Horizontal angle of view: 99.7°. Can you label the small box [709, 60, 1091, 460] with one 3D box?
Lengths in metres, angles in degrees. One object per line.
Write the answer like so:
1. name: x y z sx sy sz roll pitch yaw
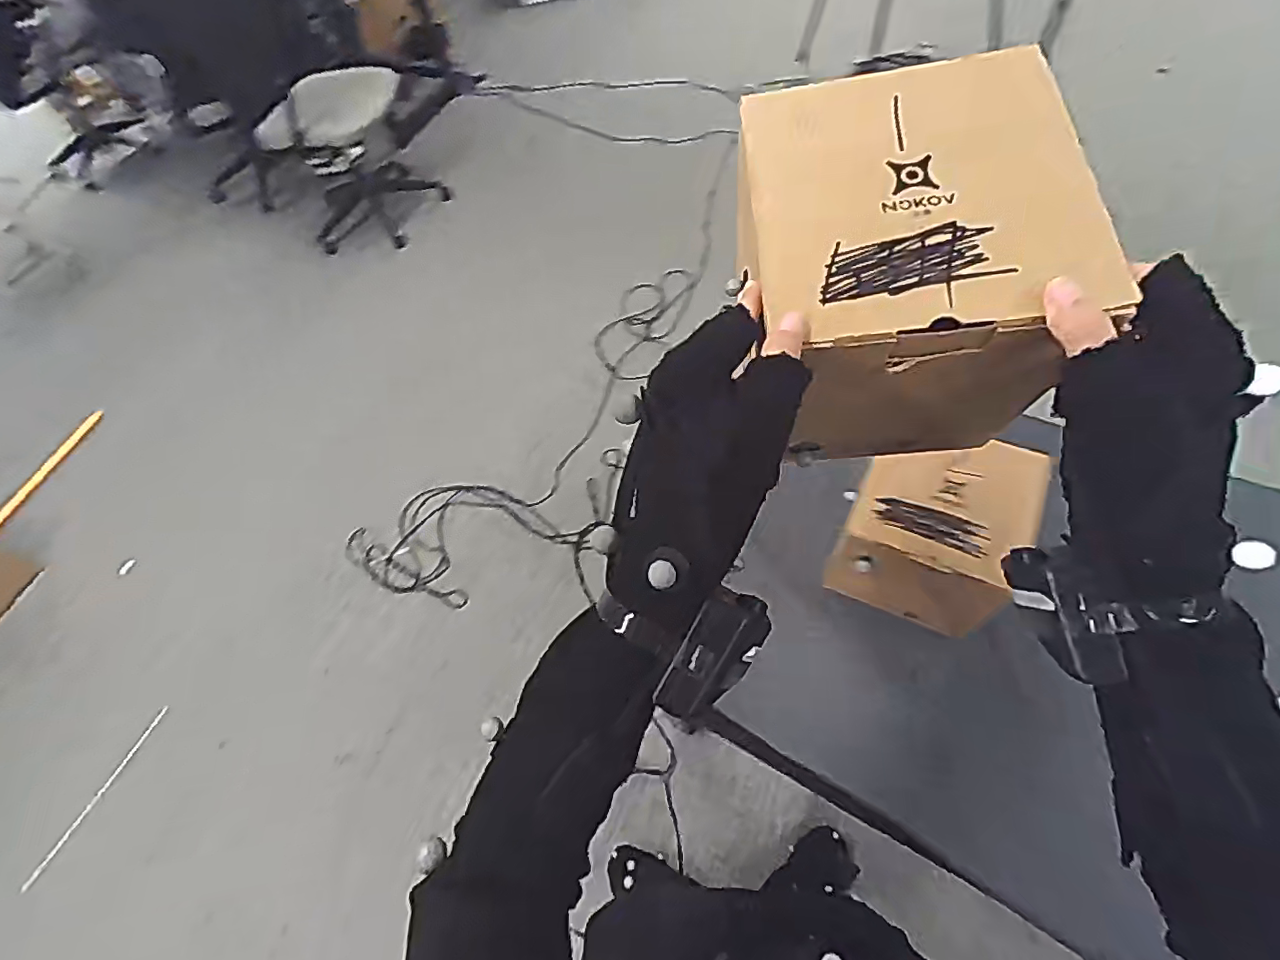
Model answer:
1. small box: 0.138 -0.121 0.361 0.168 0.176 0.179 -5 70 8
